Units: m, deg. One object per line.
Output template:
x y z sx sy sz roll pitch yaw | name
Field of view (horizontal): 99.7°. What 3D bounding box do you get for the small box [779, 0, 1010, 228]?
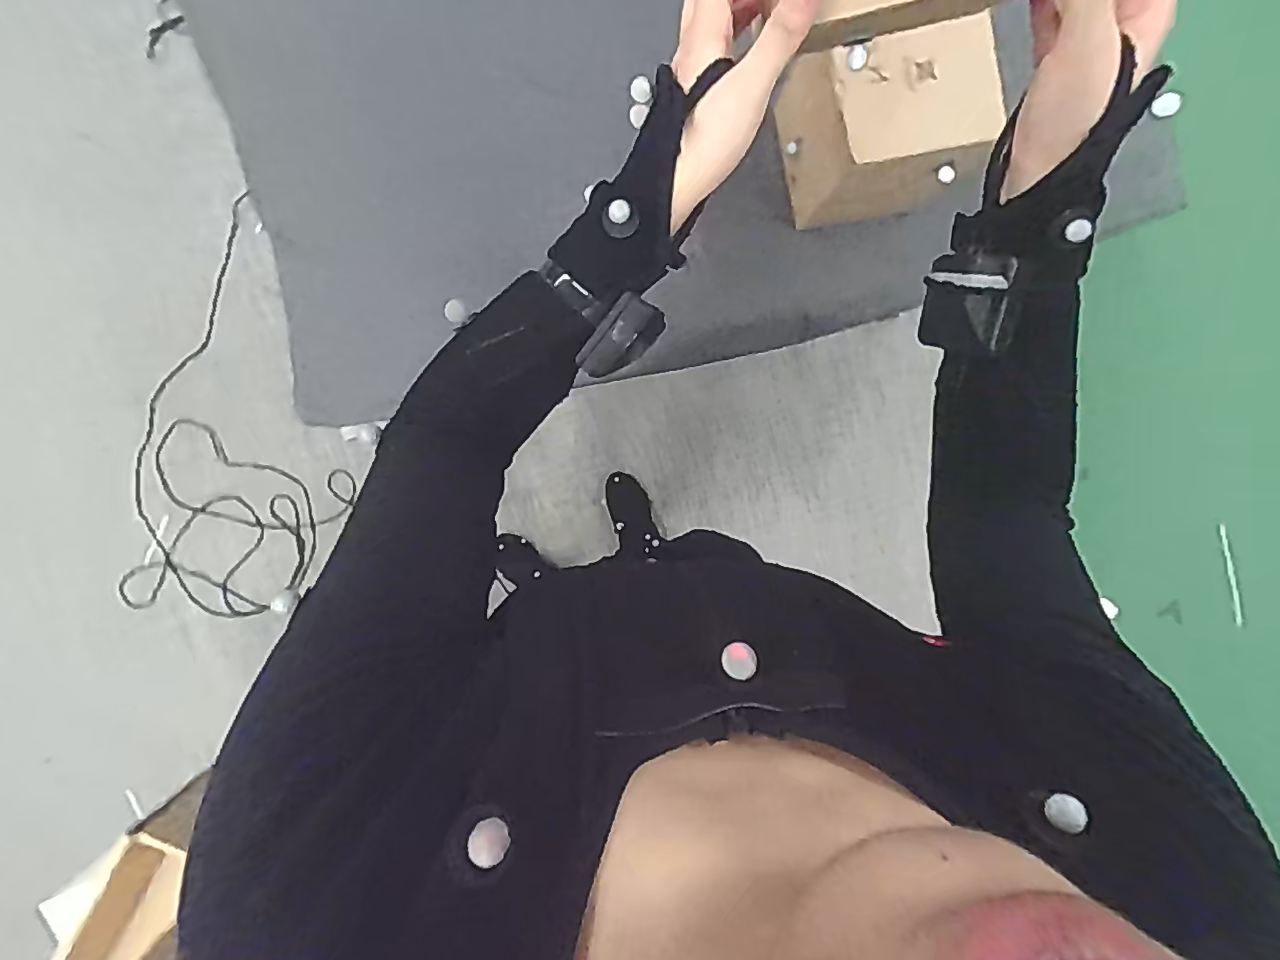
0.285 -0.424 0.637 0.179 0.176 0.168 -12 93 -2 | small box
